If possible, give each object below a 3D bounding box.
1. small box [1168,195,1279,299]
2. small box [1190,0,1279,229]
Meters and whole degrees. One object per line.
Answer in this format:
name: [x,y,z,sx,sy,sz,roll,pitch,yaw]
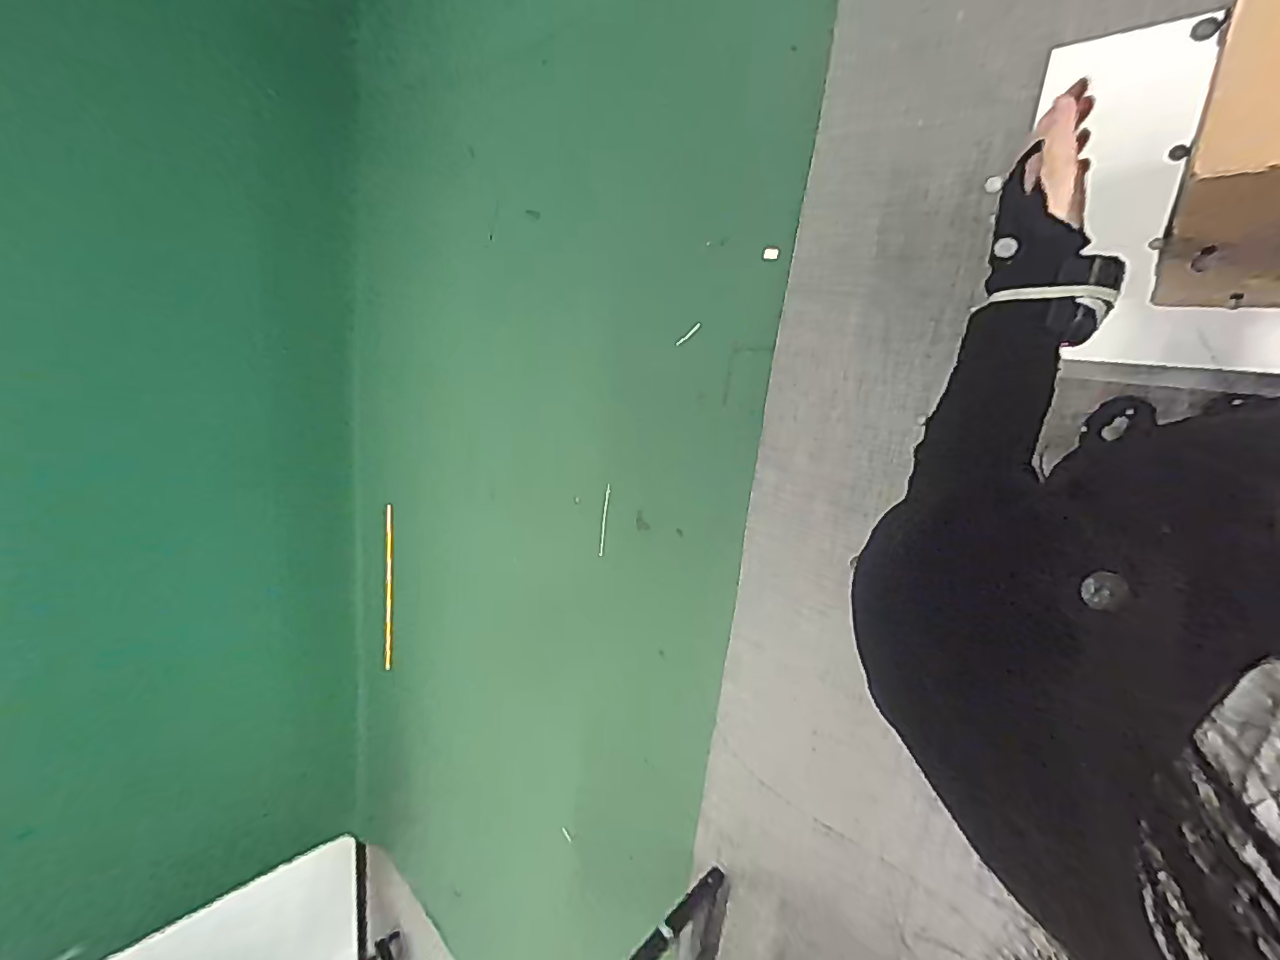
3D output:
small box: [0.648,-0.282,0.525,0.168,0.176,0.179,17,106,41]
small box: [0.426,-0.253,0.284,0.168,0.176,0.179,15,104,41]
